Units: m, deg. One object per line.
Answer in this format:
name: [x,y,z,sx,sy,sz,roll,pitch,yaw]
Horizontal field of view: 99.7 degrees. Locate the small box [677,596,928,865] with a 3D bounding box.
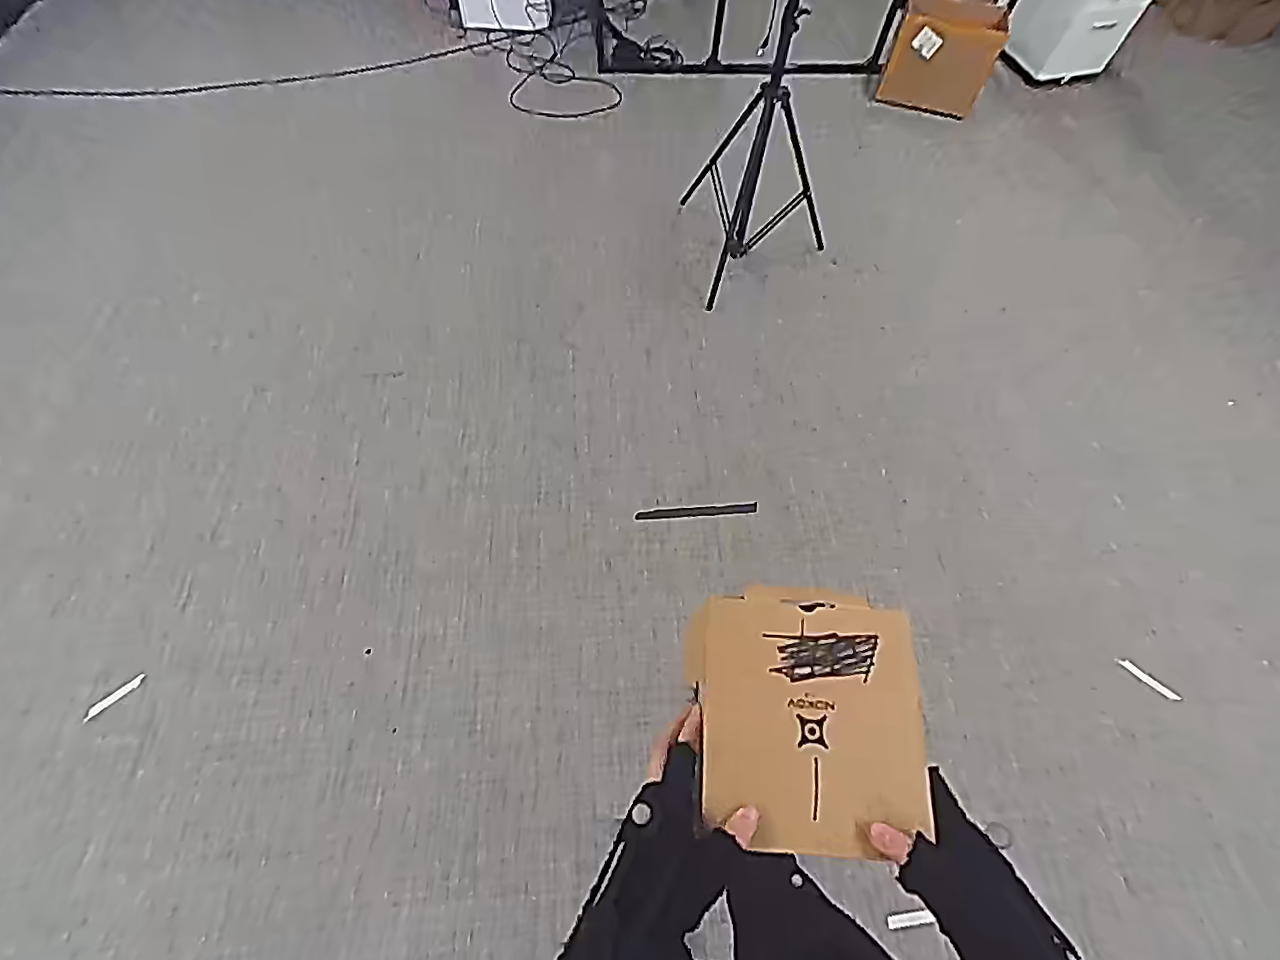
small box: [0.124,0.211,0.482,0.168,0.176,0.179,5,68,0]
